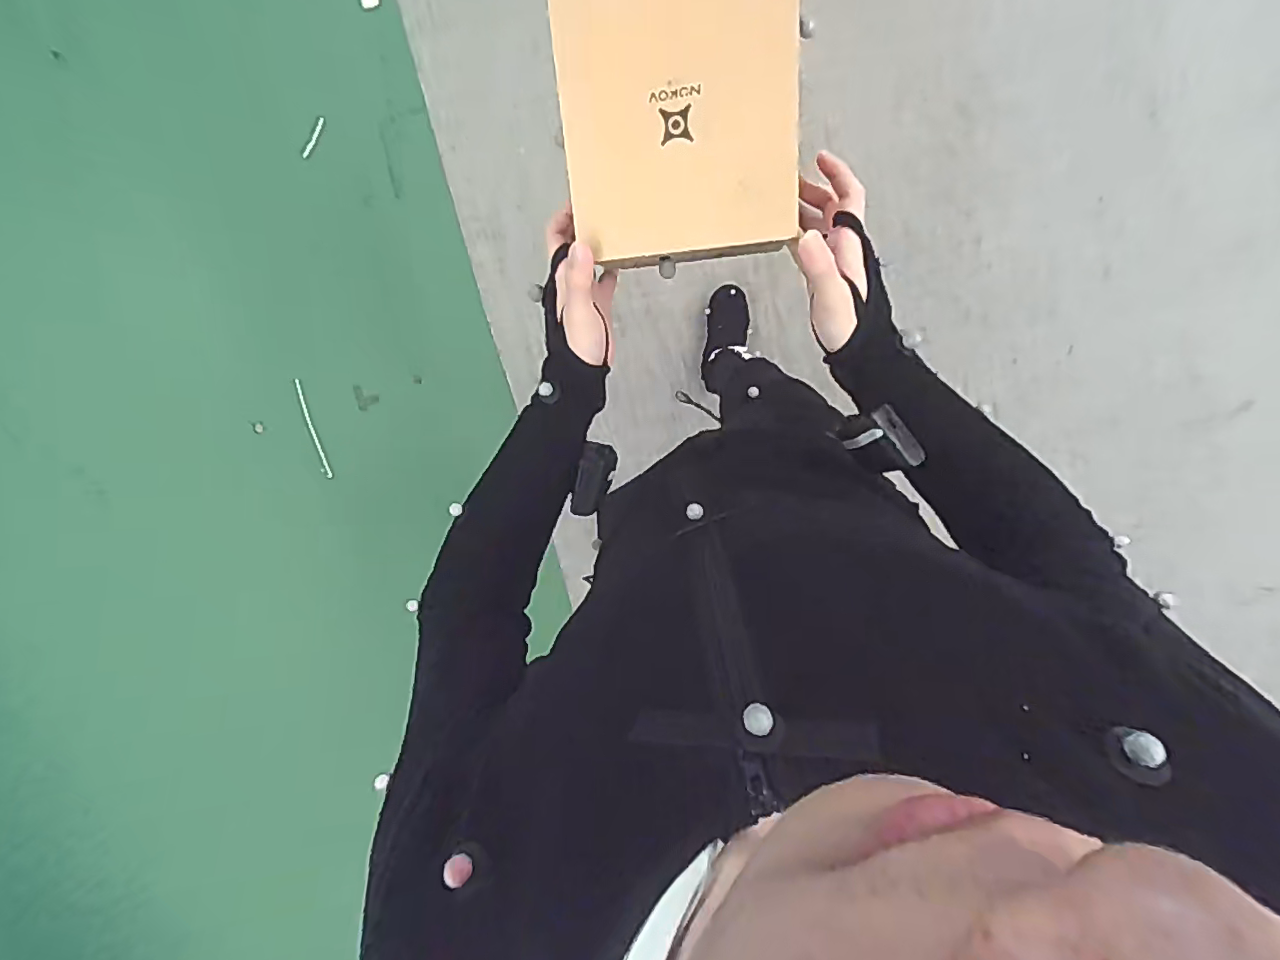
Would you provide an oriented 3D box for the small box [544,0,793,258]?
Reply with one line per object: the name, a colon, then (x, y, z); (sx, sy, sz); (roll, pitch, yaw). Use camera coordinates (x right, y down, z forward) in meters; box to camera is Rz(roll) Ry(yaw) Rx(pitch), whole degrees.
small box: (0.035, -0.284, 0.444); (0.168, 0.176, 0.179); (-2, 107, 11)
